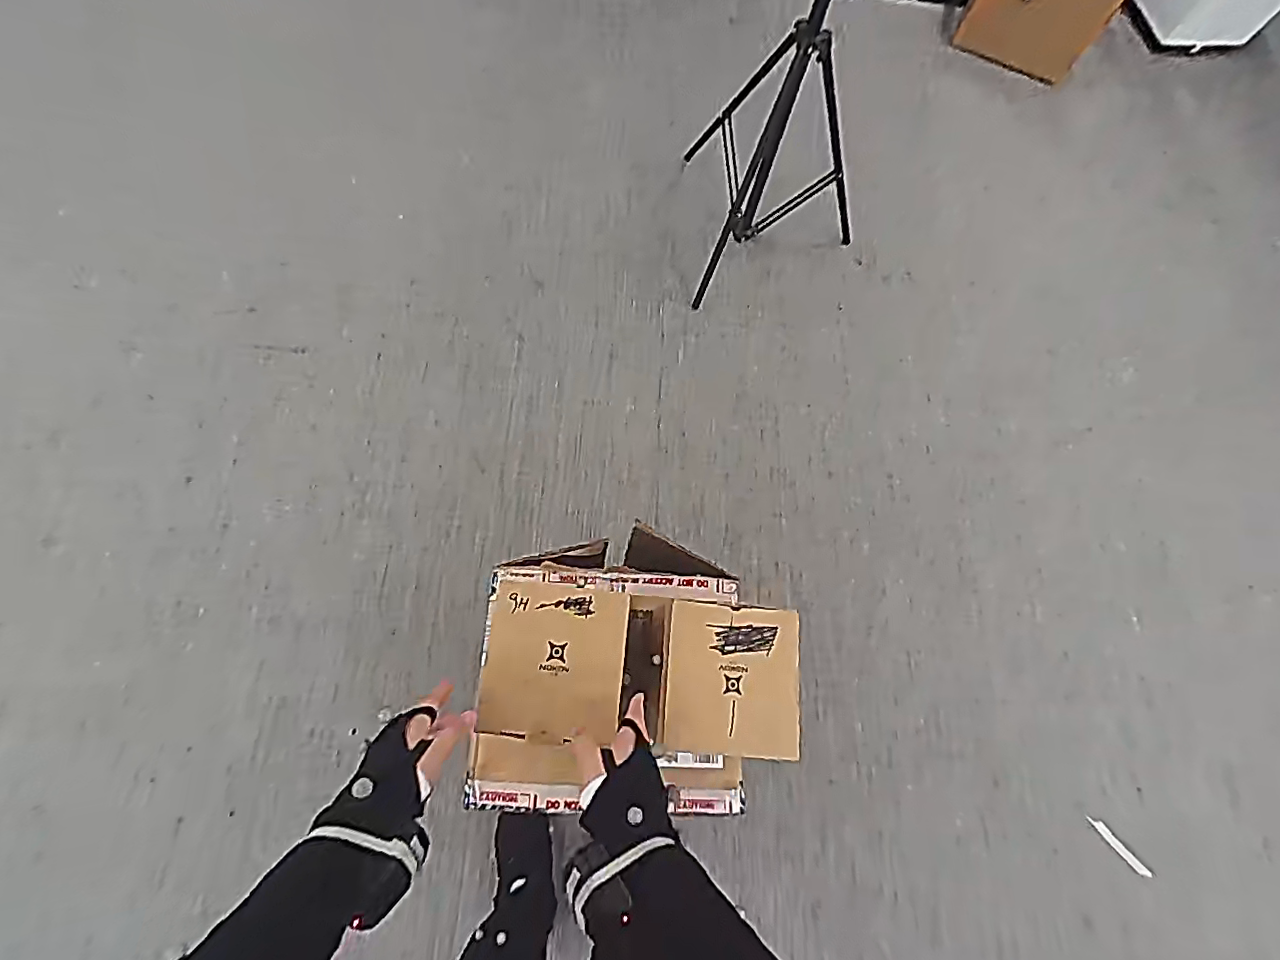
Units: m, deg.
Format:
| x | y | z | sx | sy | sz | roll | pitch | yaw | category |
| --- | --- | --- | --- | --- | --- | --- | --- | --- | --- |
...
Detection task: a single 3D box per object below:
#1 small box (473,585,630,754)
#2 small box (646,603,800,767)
| x | y | z | sx | sy | sz | roll | pitch | yaw | category |
| --- | --- | --- | --- | --- | --- | --- | --- | --- | --- |
| -0.104 | 0.244 | 0.715 | 0.168 | 0.176 | 0.179 | 6 | 72 | -1 | small box |
| 0.104 | 0.269 | 0.727 | 0.168 | 0.176 | 0.179 | 7 | 72 | -5 | small box |
